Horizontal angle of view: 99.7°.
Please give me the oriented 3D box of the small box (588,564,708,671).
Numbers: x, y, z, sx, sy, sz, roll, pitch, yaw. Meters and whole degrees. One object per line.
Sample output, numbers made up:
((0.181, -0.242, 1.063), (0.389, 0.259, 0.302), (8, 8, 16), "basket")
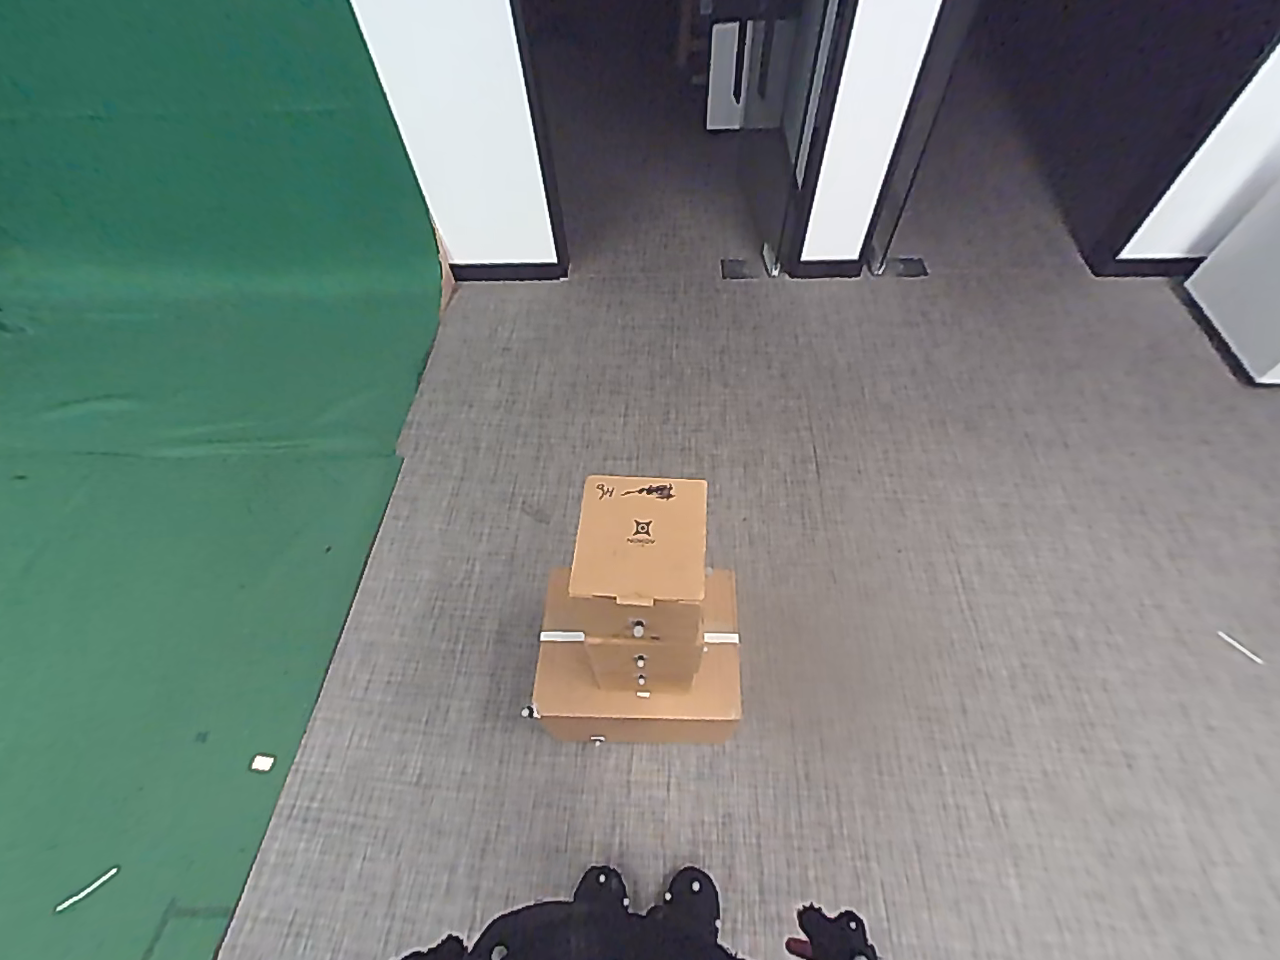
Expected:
((0.012, 0.210, 0.888), (0.179, 0.176, 0.168), (-2, 58, 1), "small box")

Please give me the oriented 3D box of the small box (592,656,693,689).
((0.012, 0.294, 1.029), (0.179, 0.176, 0.168), (2, 58, 3), "small box")

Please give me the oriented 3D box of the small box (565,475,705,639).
((0.004, 0.113, 0.756), (0.168, 0.176, 0.179), (3, 58, 6), "small box")
